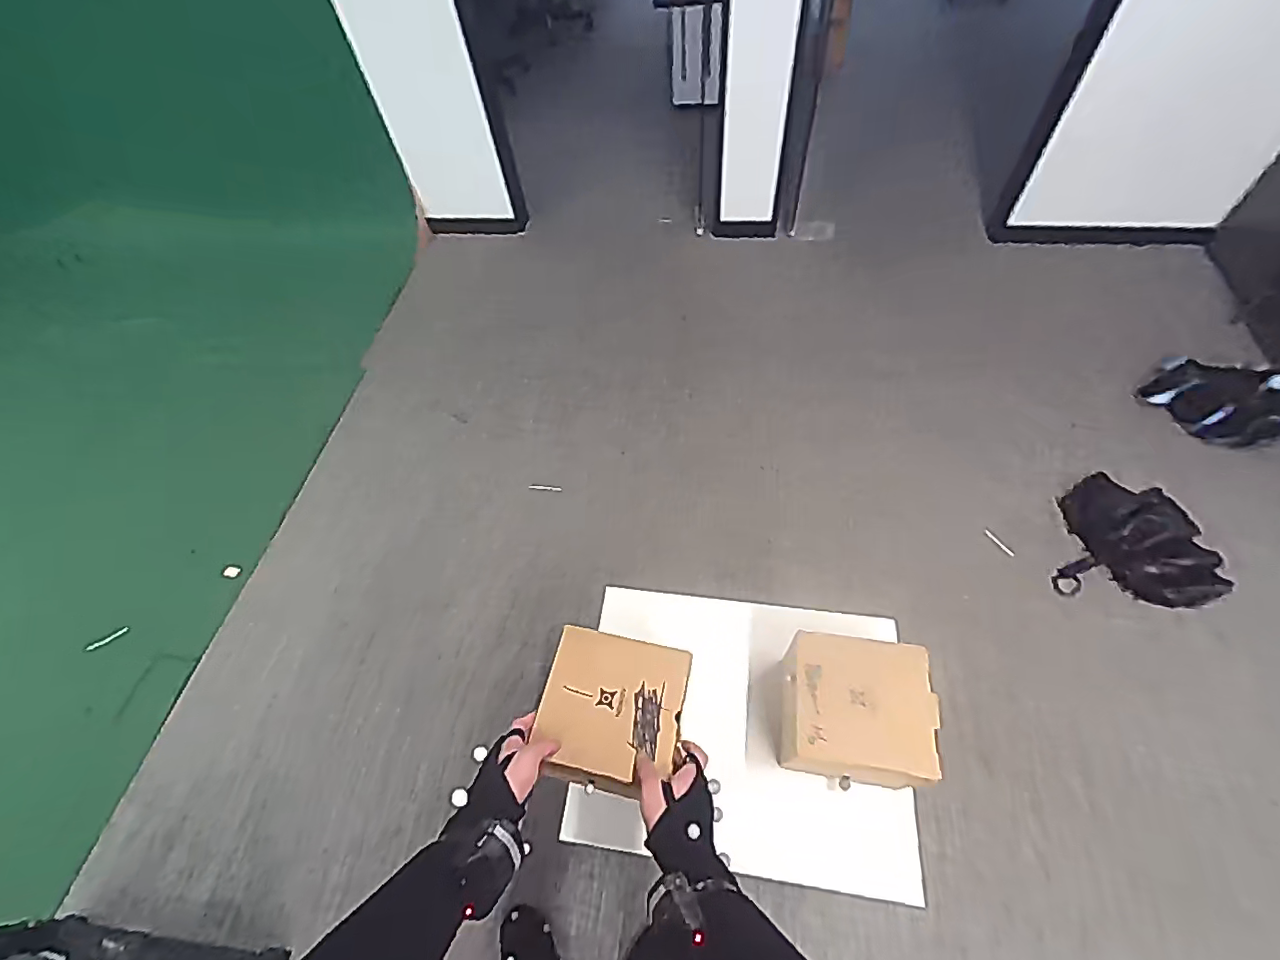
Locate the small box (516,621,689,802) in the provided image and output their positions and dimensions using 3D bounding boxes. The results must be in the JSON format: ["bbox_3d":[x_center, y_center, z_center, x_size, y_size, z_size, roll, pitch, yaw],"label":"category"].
[{"bbox_3d":[-0.042,0.312,0.719,0.179,0.176,0.168,11,54,7],"label":"small box"}]

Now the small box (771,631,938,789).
[{"bbox_3d":[0.295,0.334,0.775,0.179,0.176,0.168,8,57,7],"label":"small box"}]
